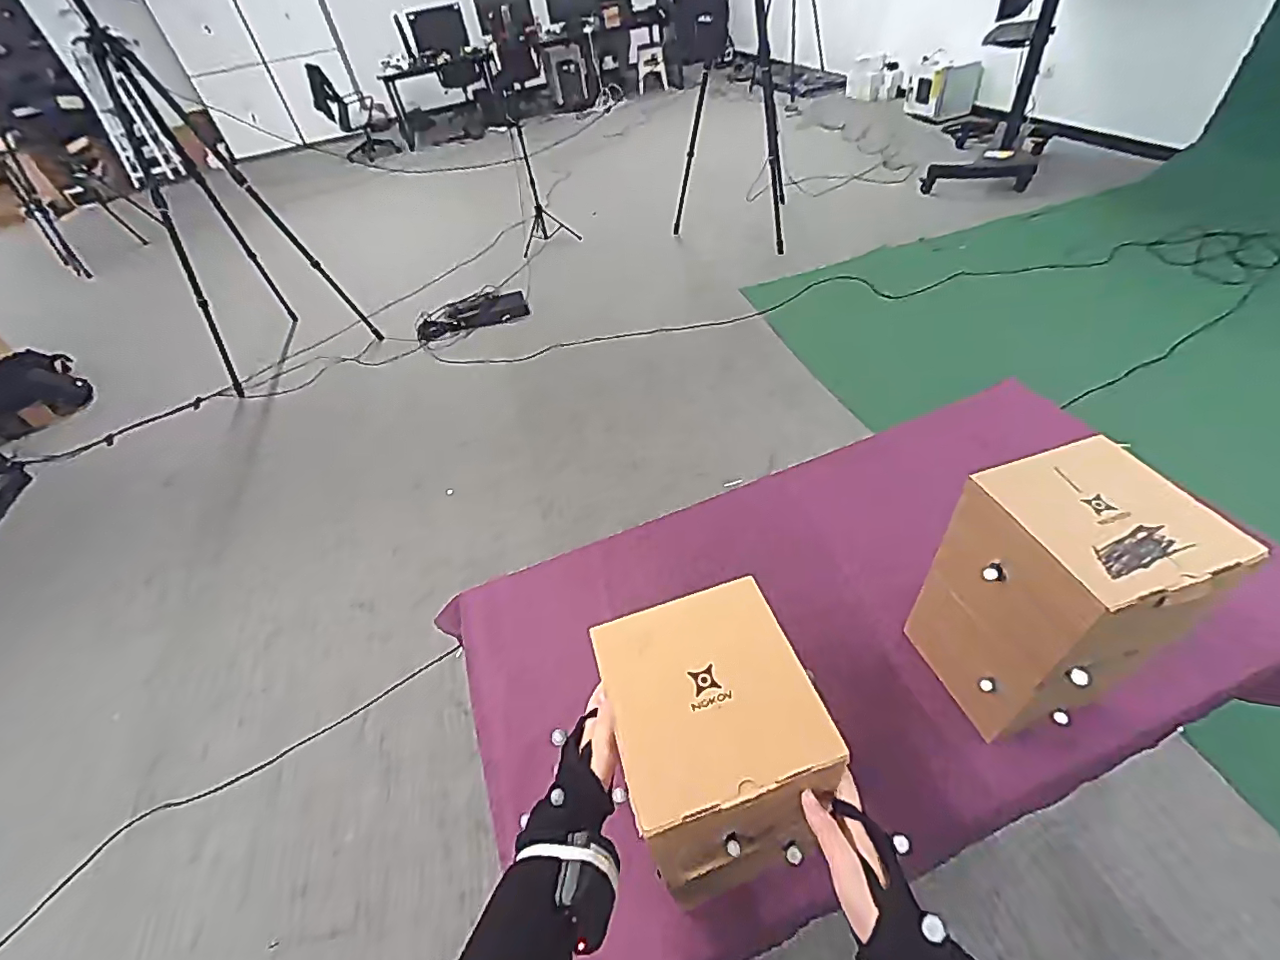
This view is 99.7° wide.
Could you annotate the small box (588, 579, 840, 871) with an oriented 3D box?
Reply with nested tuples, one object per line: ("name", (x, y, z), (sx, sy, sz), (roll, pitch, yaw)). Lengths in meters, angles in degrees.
("small box", (0.059, 0.229, 0.510), (0.168, 0.176, 0.179), (-17, 46, -7))

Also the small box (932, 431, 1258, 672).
("small box", (0.453, 0.082, 0.579), (0.168, 0.176, 0.179), (-17, 44, -5))

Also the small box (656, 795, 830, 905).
("small box", (0.090, 0.353, 0.623), (0.179, 0.176, 0.168), (-19, 45, -7))
